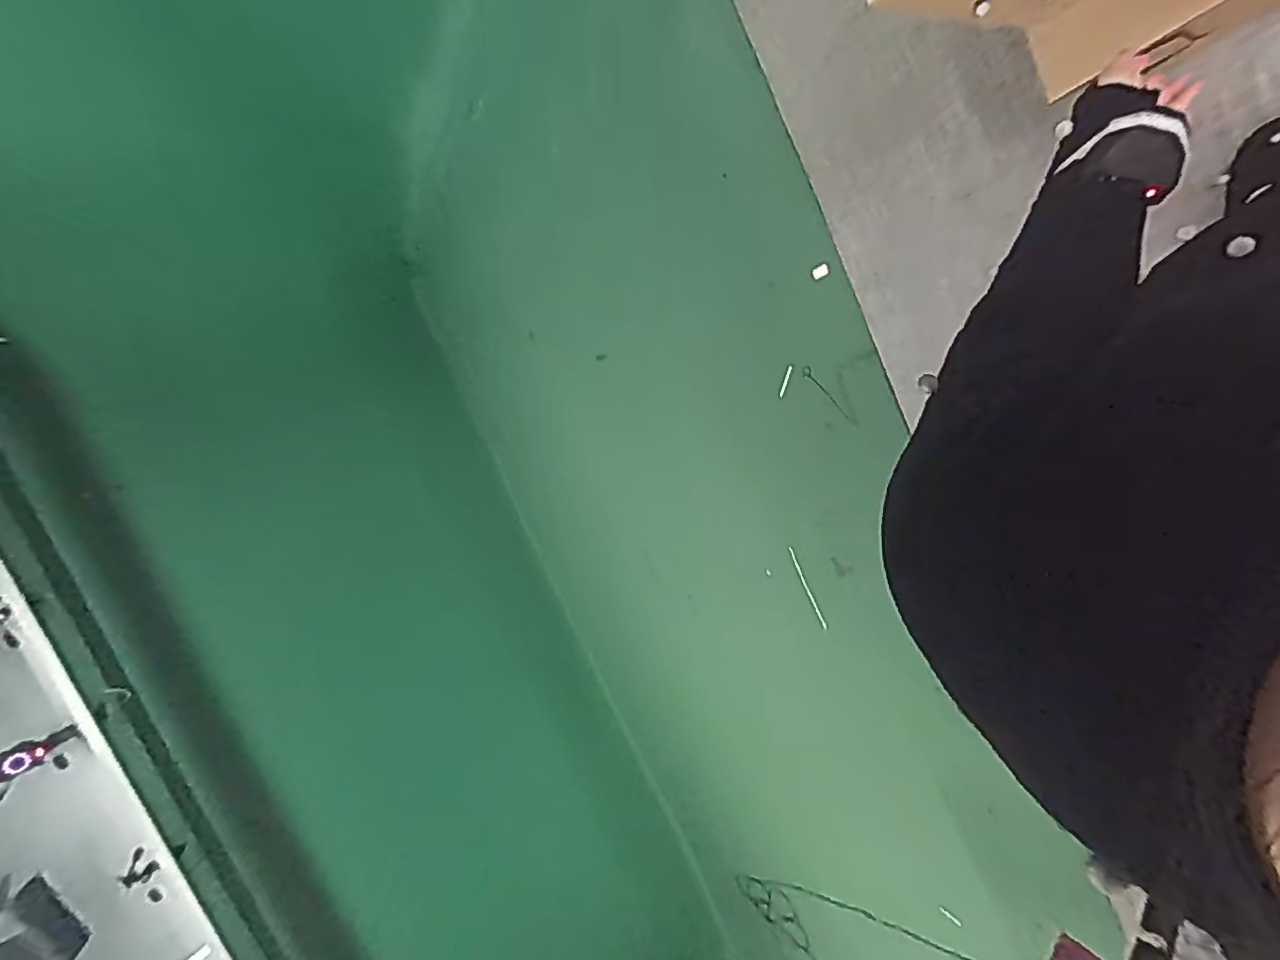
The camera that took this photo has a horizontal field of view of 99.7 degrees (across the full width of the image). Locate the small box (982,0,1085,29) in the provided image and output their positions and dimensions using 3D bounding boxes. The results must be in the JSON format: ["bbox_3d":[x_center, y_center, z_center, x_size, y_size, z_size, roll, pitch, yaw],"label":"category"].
[{"bbox_3d":[0.568,-0.755,0.724,0.168,0.176,0.179,-6,106,56],"label":"small box"}]
